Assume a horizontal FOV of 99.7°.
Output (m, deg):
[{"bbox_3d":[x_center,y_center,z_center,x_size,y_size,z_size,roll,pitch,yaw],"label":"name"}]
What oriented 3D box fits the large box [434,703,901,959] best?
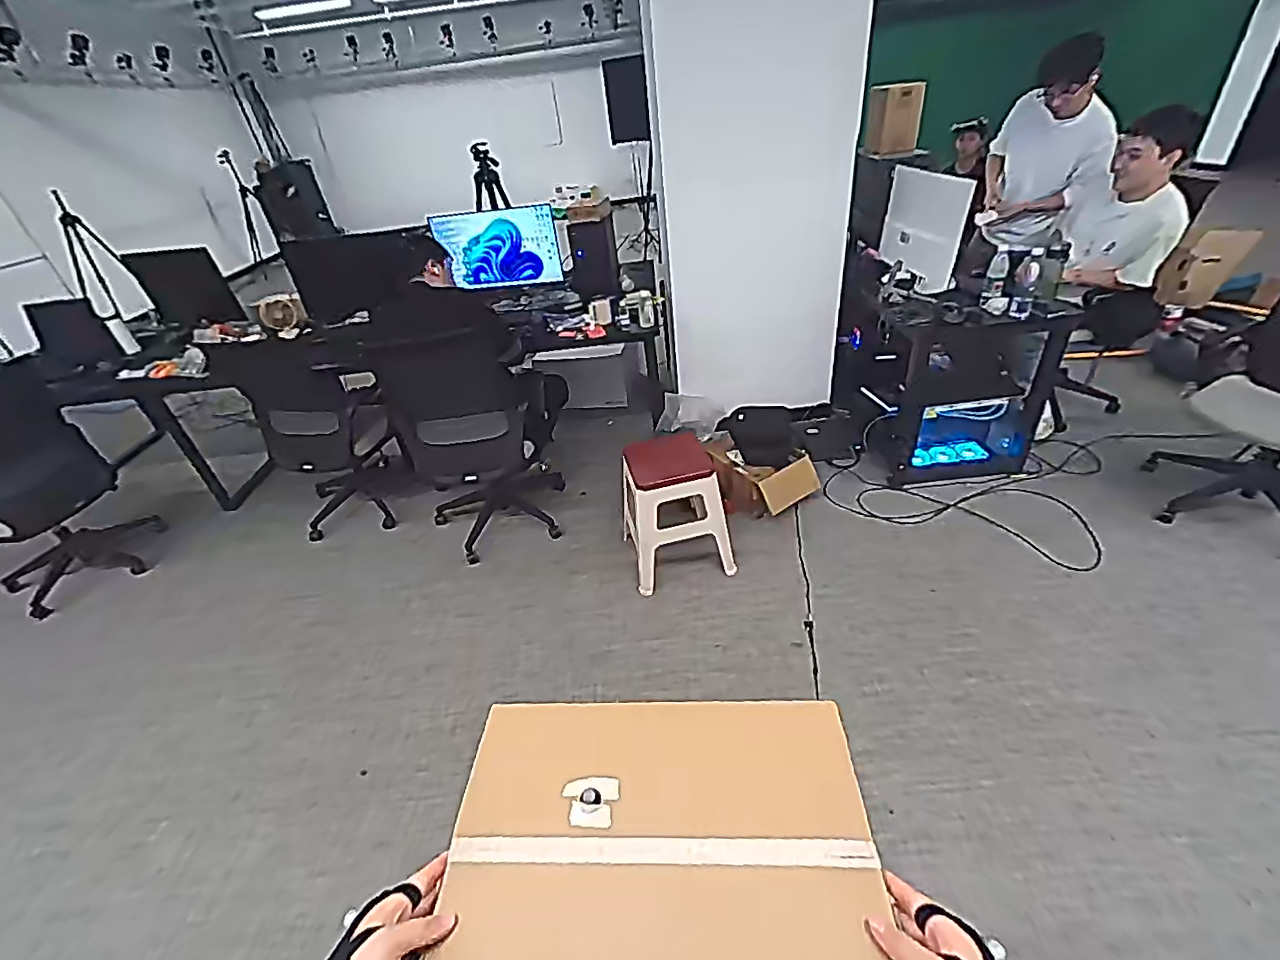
[{"bbox_3d":[0.036,0.482,0.604,0.408,0.320,0.320,-4,35,5],"label":"large box"}]
